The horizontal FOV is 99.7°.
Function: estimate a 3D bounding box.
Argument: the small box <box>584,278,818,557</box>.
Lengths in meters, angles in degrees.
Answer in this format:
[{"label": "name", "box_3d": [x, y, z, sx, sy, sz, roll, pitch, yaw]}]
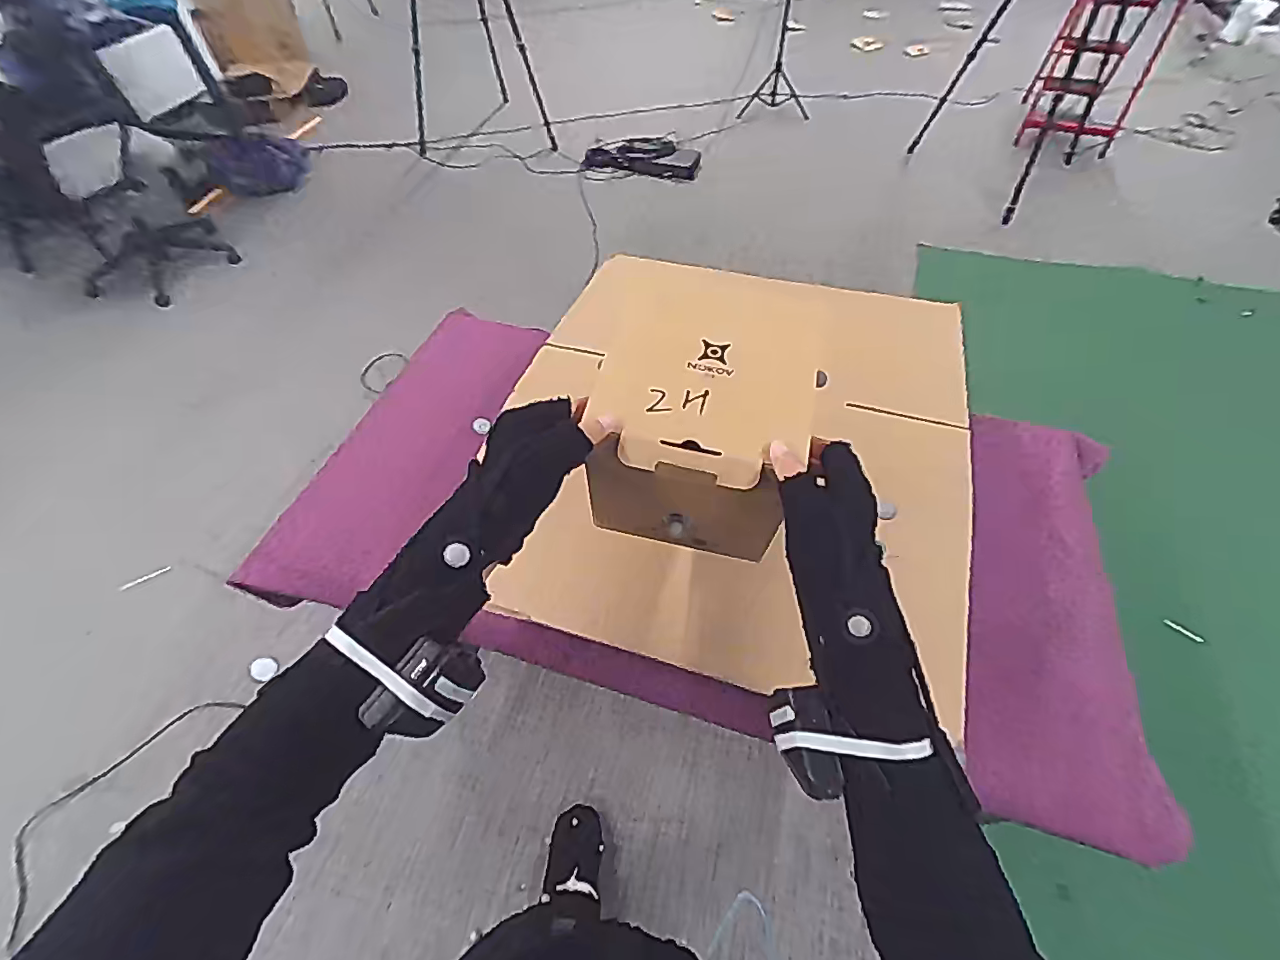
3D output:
[{"label": "small box", "box_3d": [0.055, -0.053, 0.504, 0.168, 0.176, 0.179, 12, 60, 7]}]
